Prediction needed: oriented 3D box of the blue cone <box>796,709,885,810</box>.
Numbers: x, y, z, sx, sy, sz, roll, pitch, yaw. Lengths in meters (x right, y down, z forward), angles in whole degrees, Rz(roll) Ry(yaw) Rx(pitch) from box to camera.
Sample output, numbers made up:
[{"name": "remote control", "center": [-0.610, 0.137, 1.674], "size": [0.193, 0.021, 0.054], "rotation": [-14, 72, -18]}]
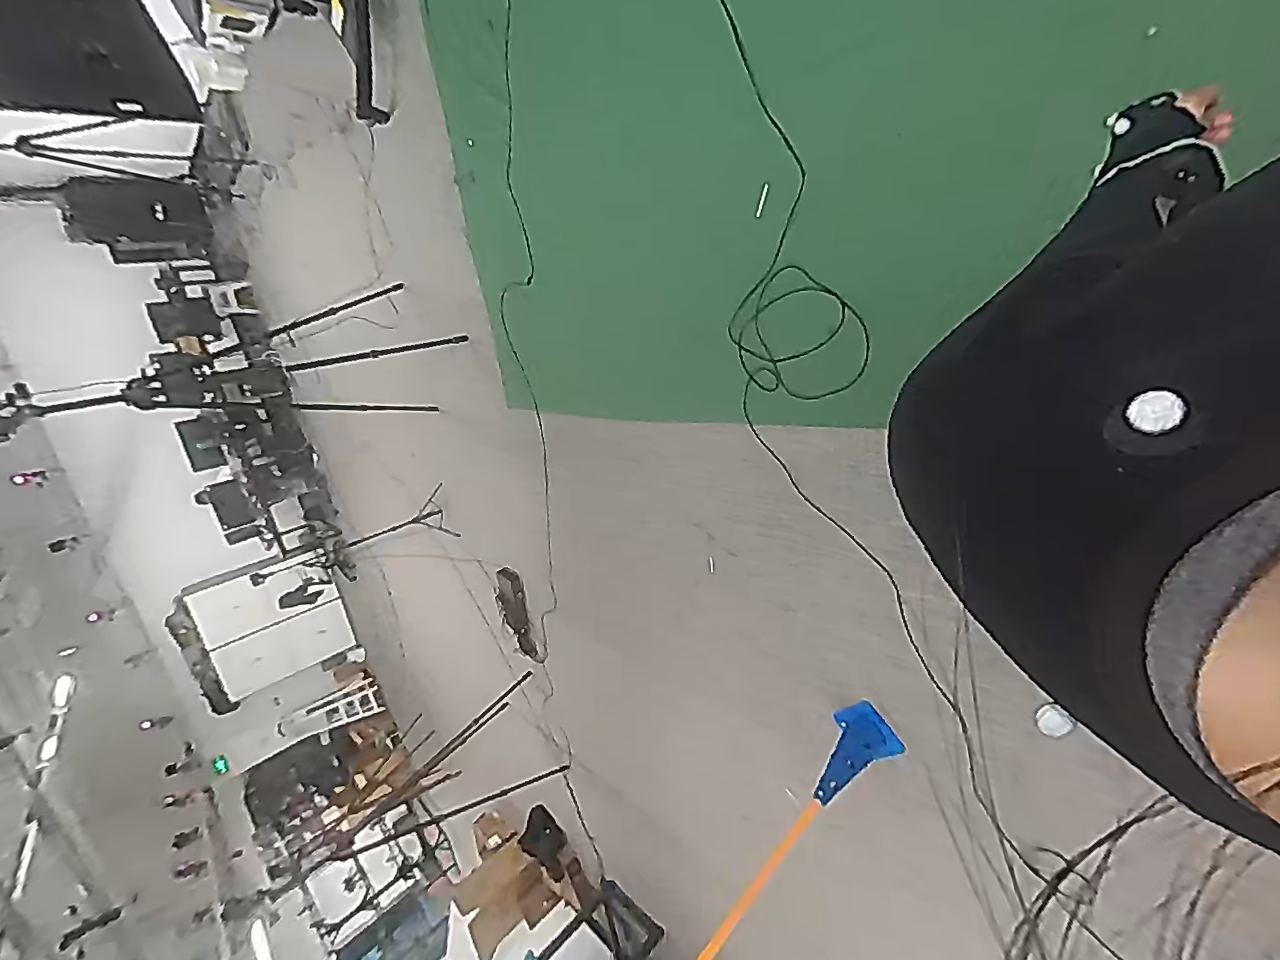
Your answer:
[{"name": "blue cone", "center": [0.646, 0.977, 1.830], "size": [0.192, 0.380, 0.193], "rotation": [51, 139, 16]}]
